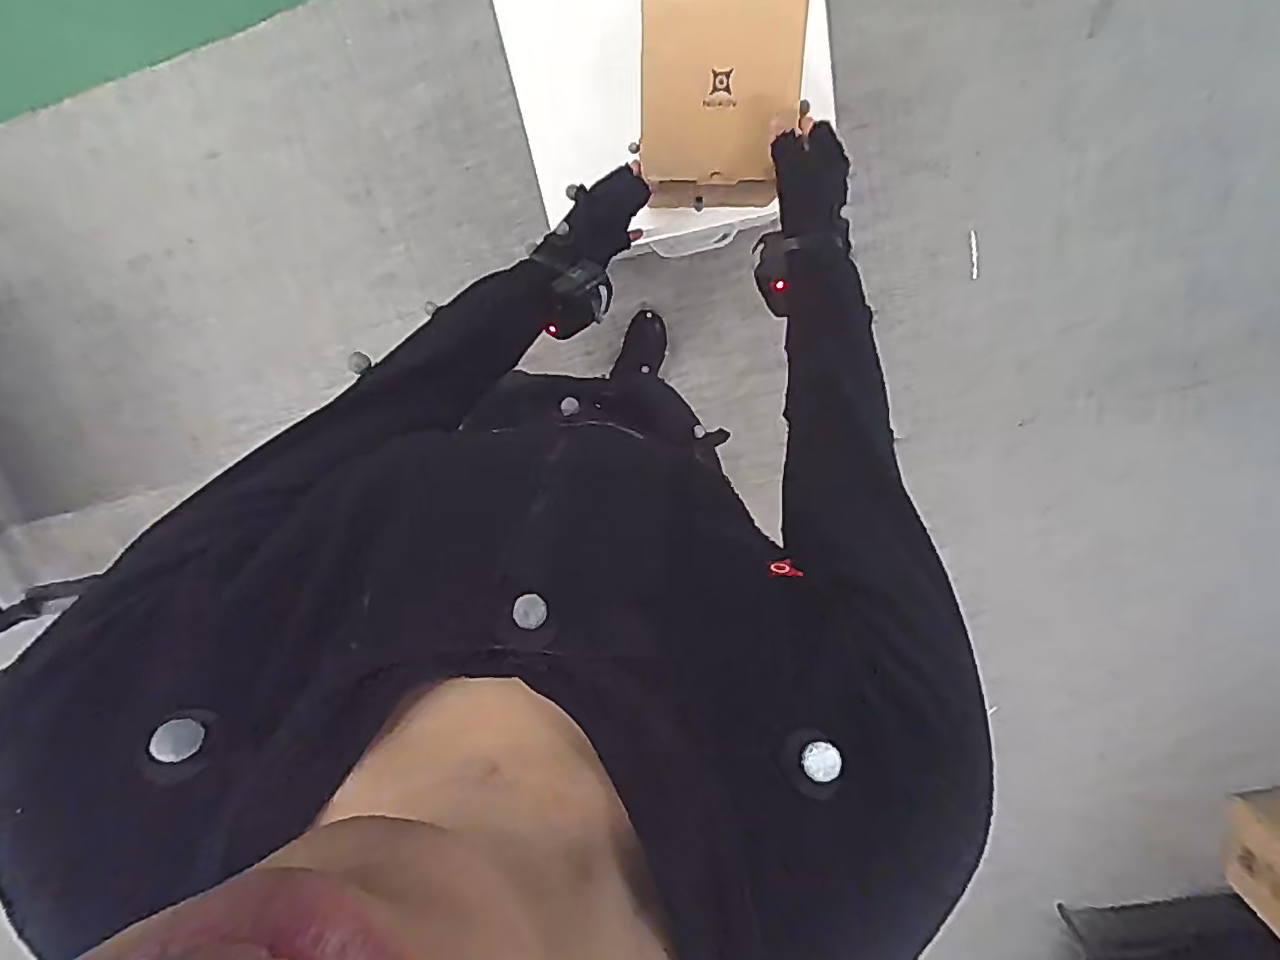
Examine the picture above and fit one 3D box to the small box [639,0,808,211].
[{"bbox_3d":[0.084,-0.422,0.628,0.168,0.176,0.179,1,109,2],"label":"small box"}]
